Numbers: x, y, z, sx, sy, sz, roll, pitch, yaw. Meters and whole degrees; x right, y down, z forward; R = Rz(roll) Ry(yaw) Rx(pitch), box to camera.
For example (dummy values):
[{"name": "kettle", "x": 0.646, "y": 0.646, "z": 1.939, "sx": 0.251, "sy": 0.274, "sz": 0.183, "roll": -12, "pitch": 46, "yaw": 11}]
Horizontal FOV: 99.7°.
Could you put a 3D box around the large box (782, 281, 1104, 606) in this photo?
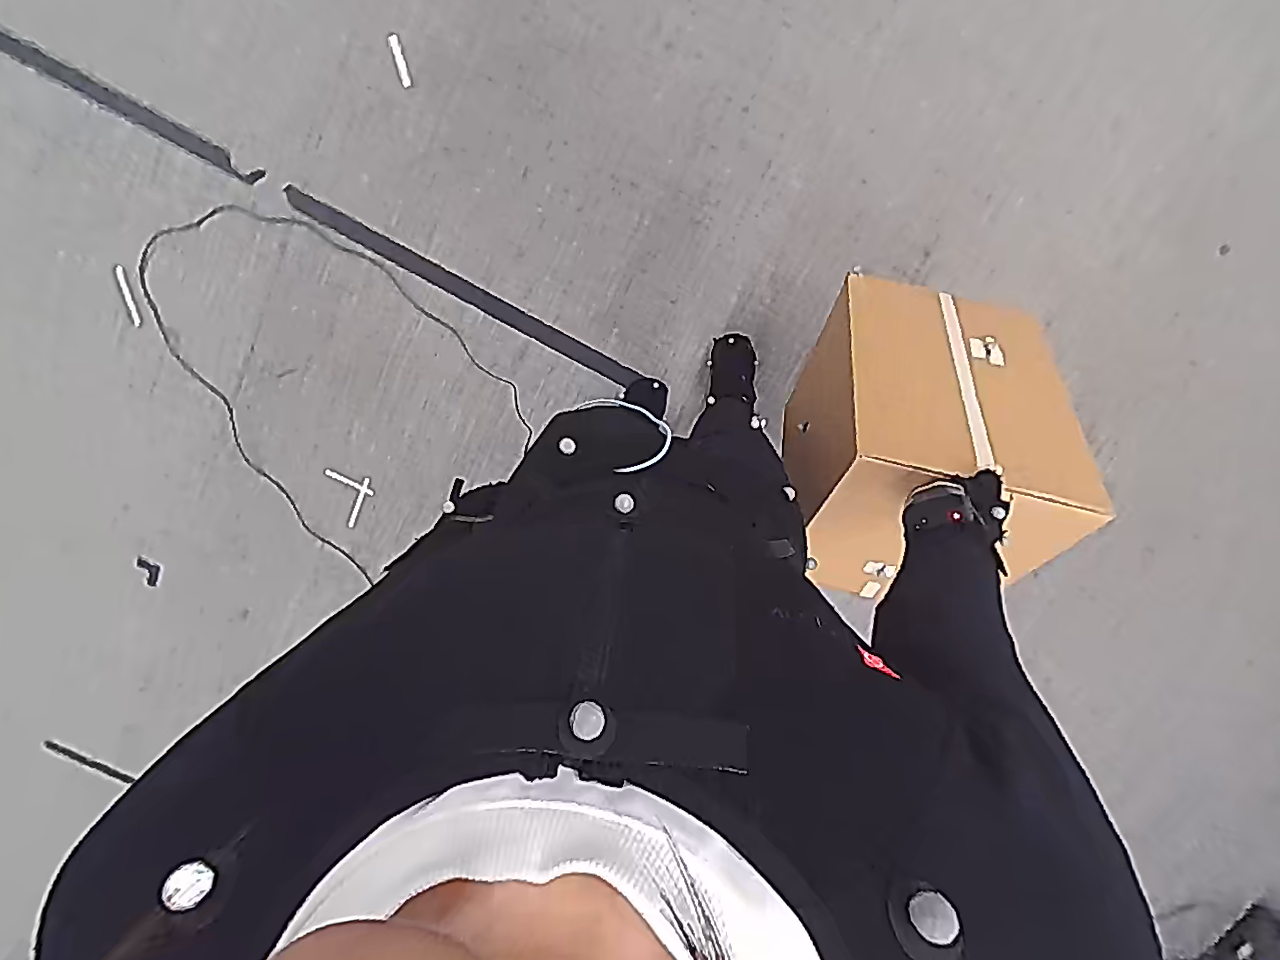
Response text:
[{"name": "large box", "x": 0.433, "y": -0.059, "z": 0.895, "sx": 0.320, "sy": 0.408, "sz": 0.320, "roll": 14, "pitch": 142, "yaw": 0}]
